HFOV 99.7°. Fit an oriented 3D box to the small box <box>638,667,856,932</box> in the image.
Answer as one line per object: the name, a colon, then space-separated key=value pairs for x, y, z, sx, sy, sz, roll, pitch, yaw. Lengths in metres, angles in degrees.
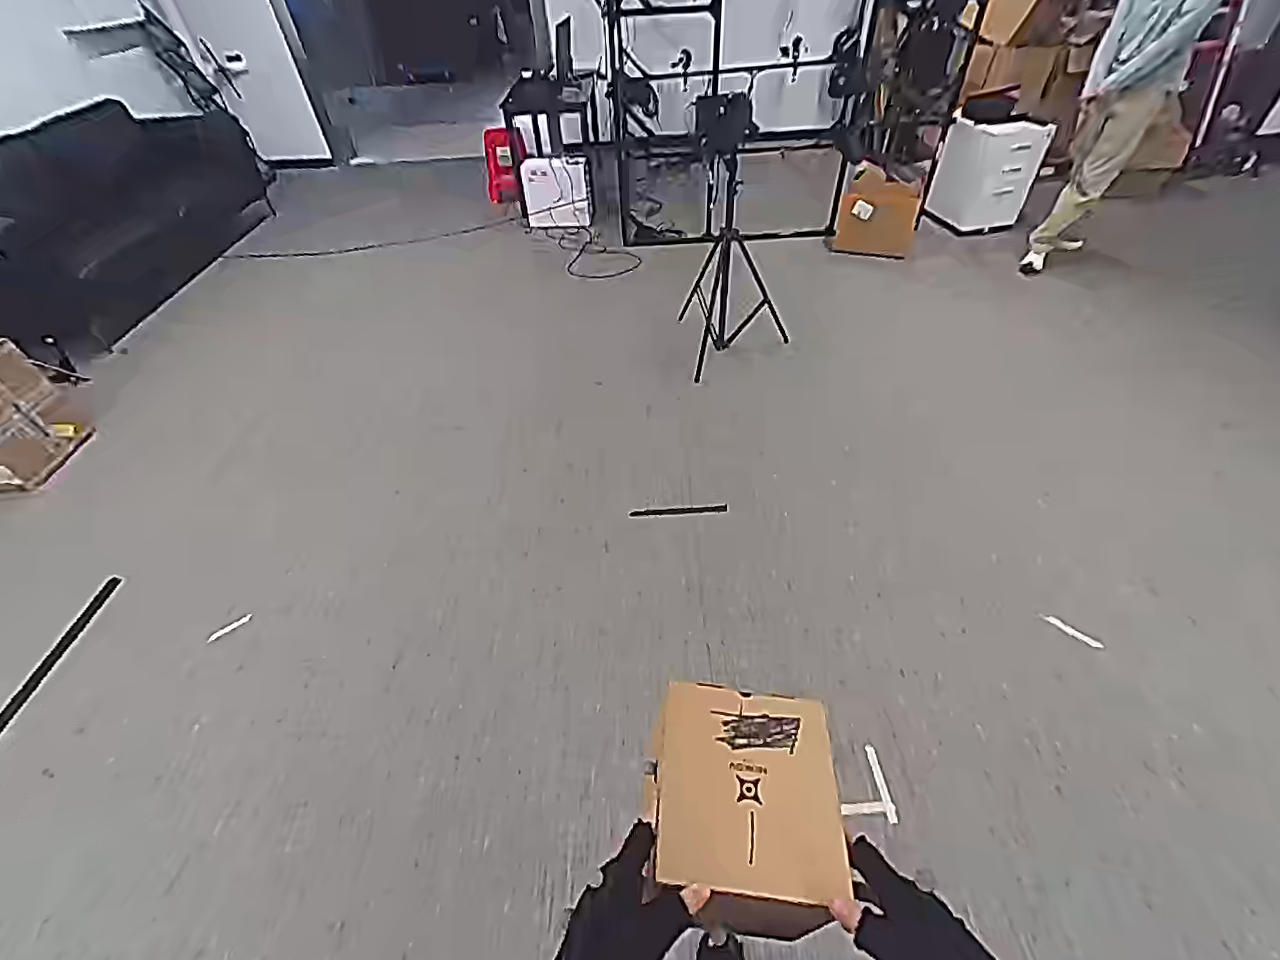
small box: x=0.092 y=0.320 z=0.545 sx=0.168 sy=0.176 sz=0.179 roll=8 pitch=42 yaw=0
